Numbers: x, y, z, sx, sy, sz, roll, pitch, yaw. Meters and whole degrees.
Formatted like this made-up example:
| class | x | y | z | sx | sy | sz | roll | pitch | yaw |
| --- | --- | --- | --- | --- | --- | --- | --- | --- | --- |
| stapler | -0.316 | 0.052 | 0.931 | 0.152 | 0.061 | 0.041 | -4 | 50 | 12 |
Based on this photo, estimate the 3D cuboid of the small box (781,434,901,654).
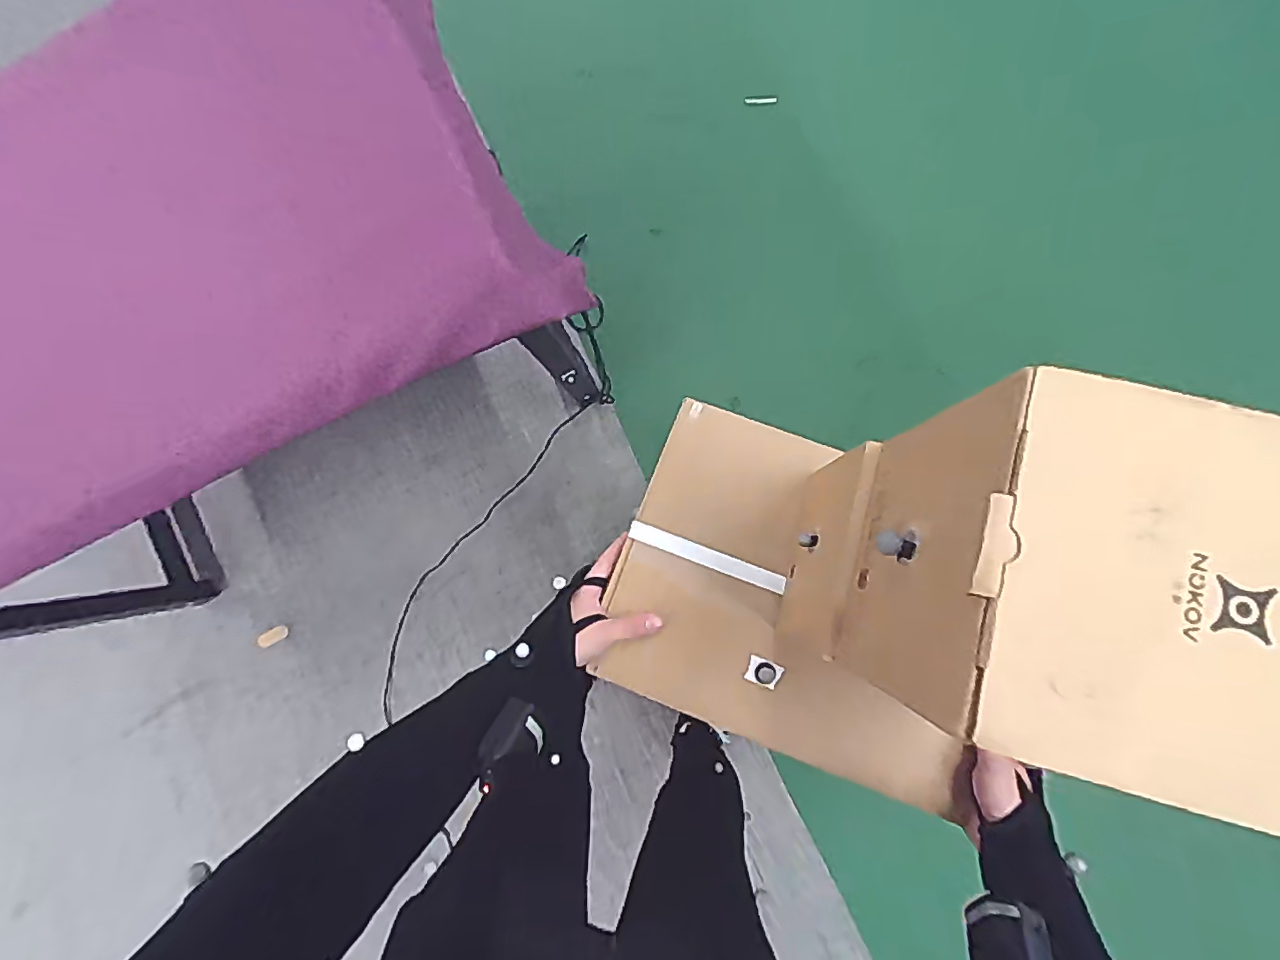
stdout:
| class | x | y | z | sx | sy | sz | roll | pitch | yaw |
| --- | --- | --- | --- | --- | --- | --- | --- | --- | --- |
| small box | 0.235 | 0.074 | 0.468 | 0.179 | 0.176 | 0.168 | 14 | 83 | 5 |
